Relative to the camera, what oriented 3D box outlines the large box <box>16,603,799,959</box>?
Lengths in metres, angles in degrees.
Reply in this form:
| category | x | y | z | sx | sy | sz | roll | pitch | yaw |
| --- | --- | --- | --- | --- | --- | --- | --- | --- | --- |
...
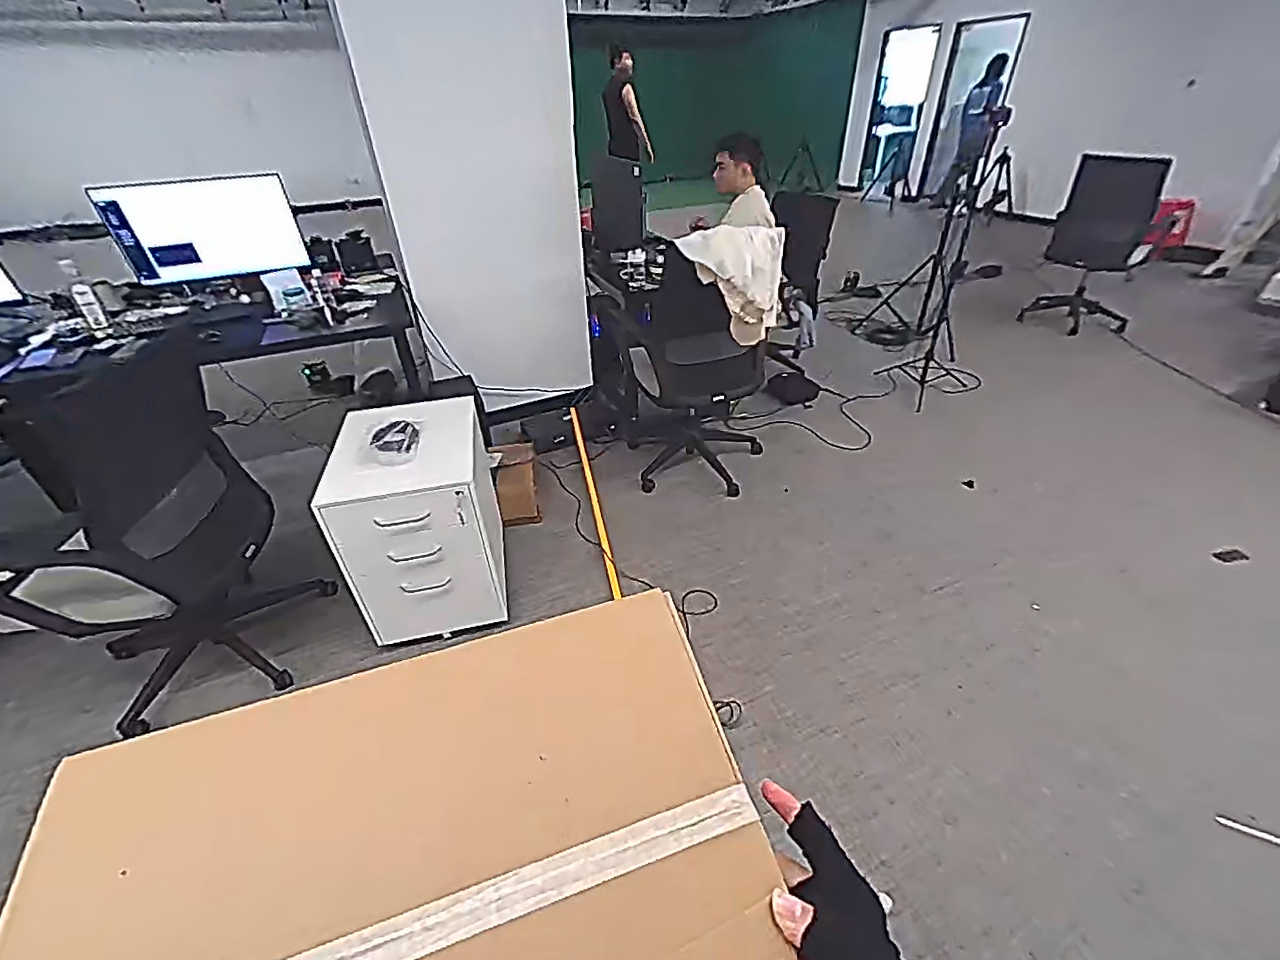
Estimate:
| category | x | y | z | sx | sy | sz | roll | pitch | yaw |
| --- | --- | --- | --- | --- | --- | --- | --- | --- | --- |
| large box | -0.126 | 0.348 | 0.408 | 0.408 | 0.320 | 0.320 | -14 | 50 | -12 |
